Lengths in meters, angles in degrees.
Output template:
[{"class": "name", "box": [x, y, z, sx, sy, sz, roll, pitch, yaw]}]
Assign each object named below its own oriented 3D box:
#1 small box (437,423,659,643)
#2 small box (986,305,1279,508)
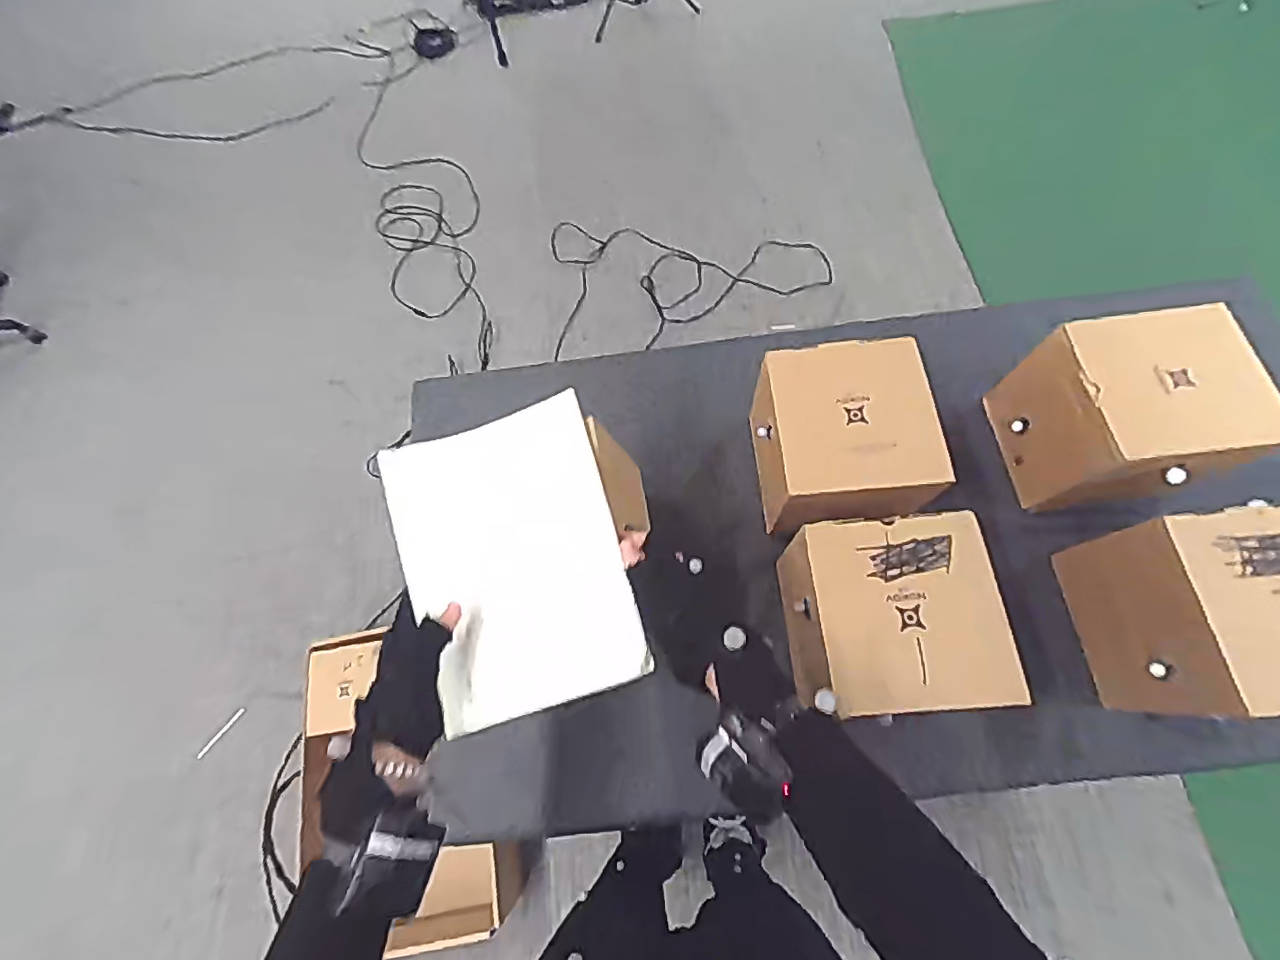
[{"class": "small box", "box": [-0.088, 0.065, 0.573, 0.168, 0.176, 0.179, -16, 72, 12]}, {"class": "small box", "box": [0.554, -0.075, 0.630, 0.179, 0.176, 0.168, -7, 68, 3]}]
